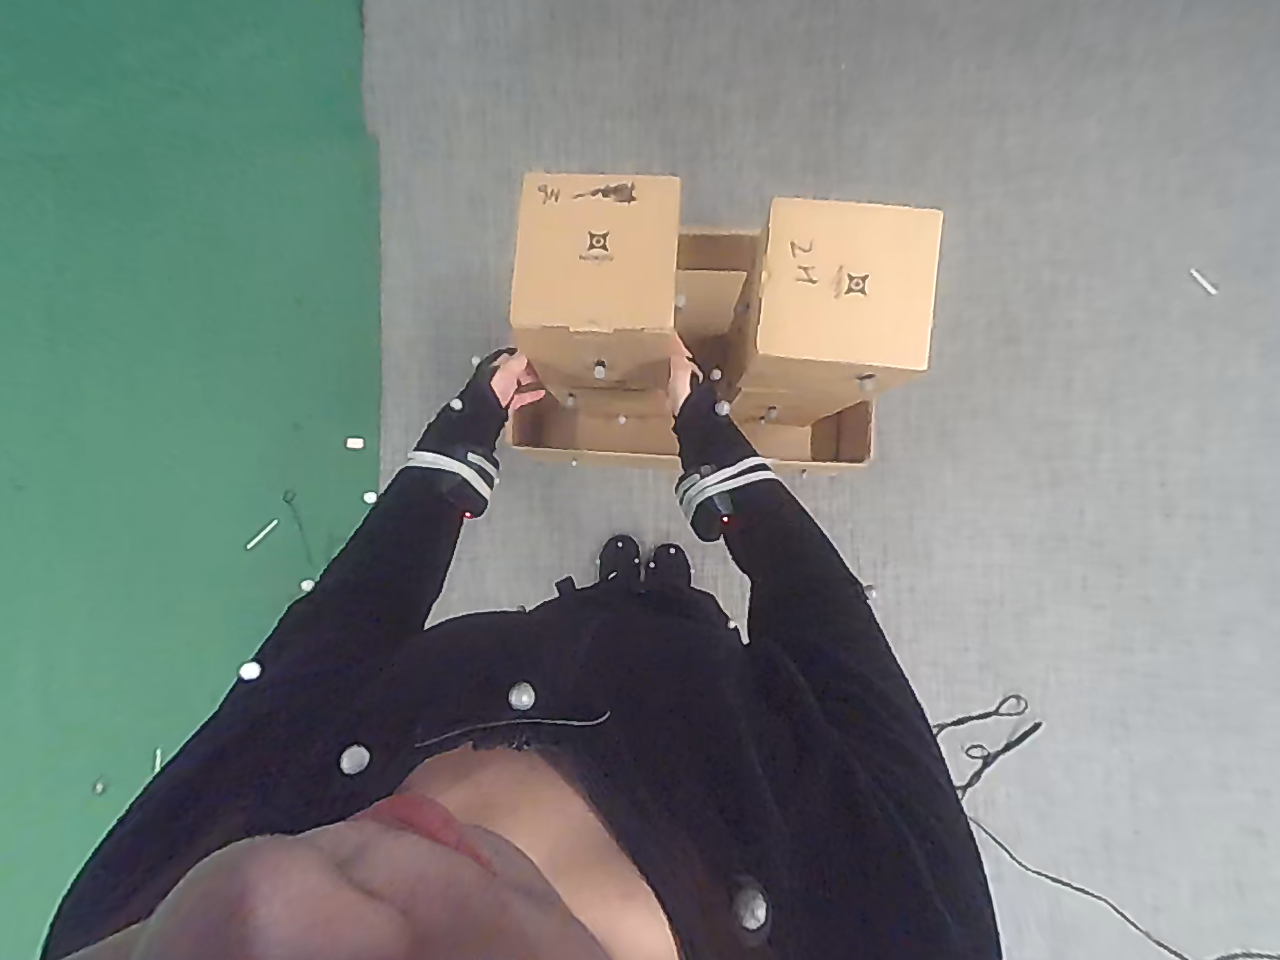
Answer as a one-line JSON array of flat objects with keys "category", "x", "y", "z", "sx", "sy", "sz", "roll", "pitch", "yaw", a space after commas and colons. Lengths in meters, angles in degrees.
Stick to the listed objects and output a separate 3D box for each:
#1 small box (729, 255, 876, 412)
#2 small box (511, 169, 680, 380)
[{"category": "small box", "x": 0.225, "y": -0.203, "z": 0.790, "sx": 0.168, "sy": 0.176, "sz": 0.179, "roll": 6, "pitch": 91, "yaw": 4}, {"category": "small box", "x": -0.041, "y": -0.224, "z": 0.628, "sx": 0.168, "sy": 0.176, "sz": 0.179, "roll": 3, "pitch": 81, "yaw": 2}]
